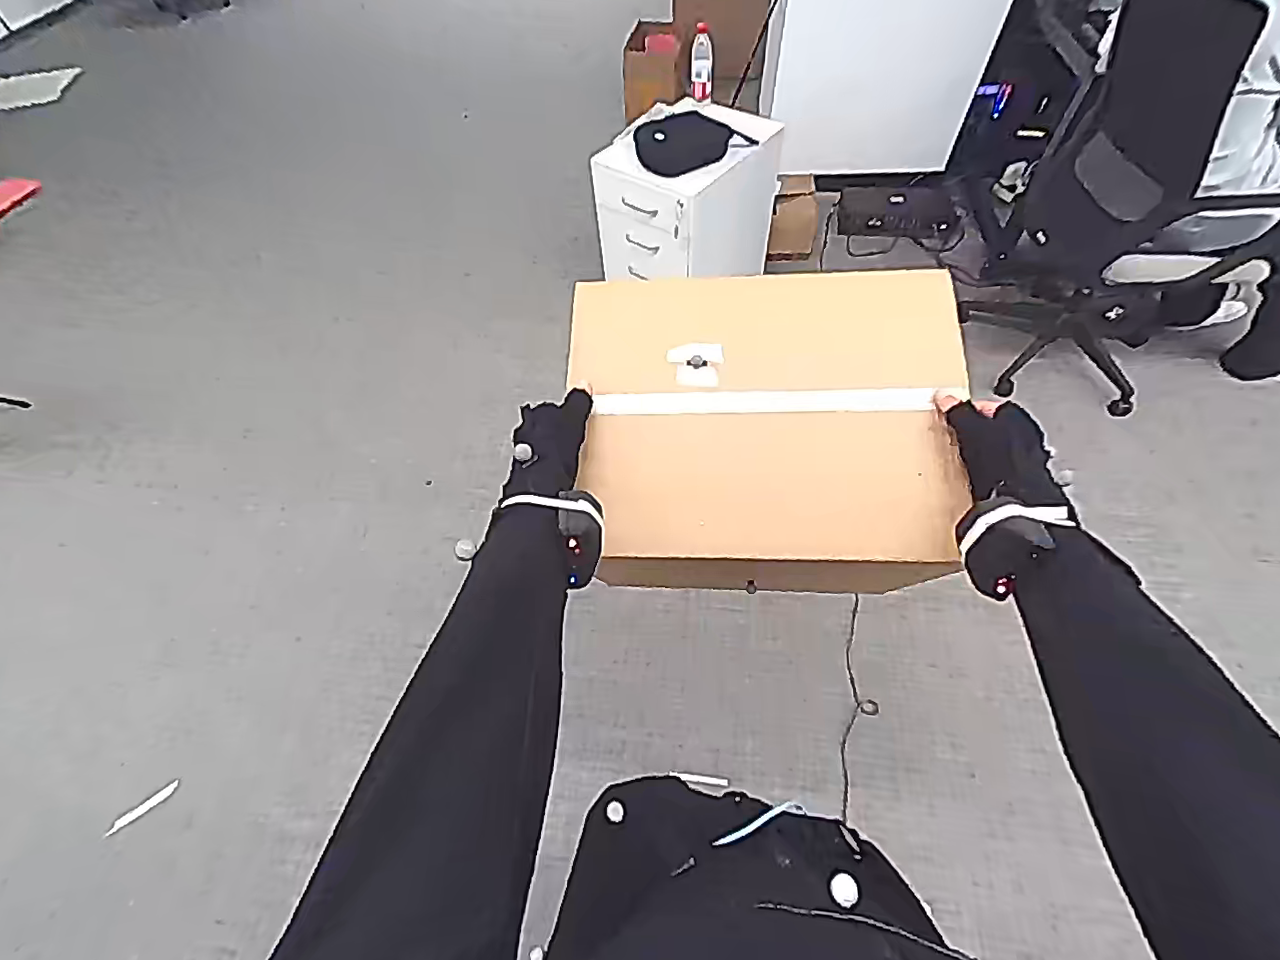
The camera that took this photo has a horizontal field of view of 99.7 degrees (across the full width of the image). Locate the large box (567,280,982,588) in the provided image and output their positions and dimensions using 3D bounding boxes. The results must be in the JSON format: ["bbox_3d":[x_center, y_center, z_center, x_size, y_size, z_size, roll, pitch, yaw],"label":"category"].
[{"bbox_3d":[0.145,-0.026,0.708,0.408,0.320,0.320,0,72,7],"label":"large box"}]
